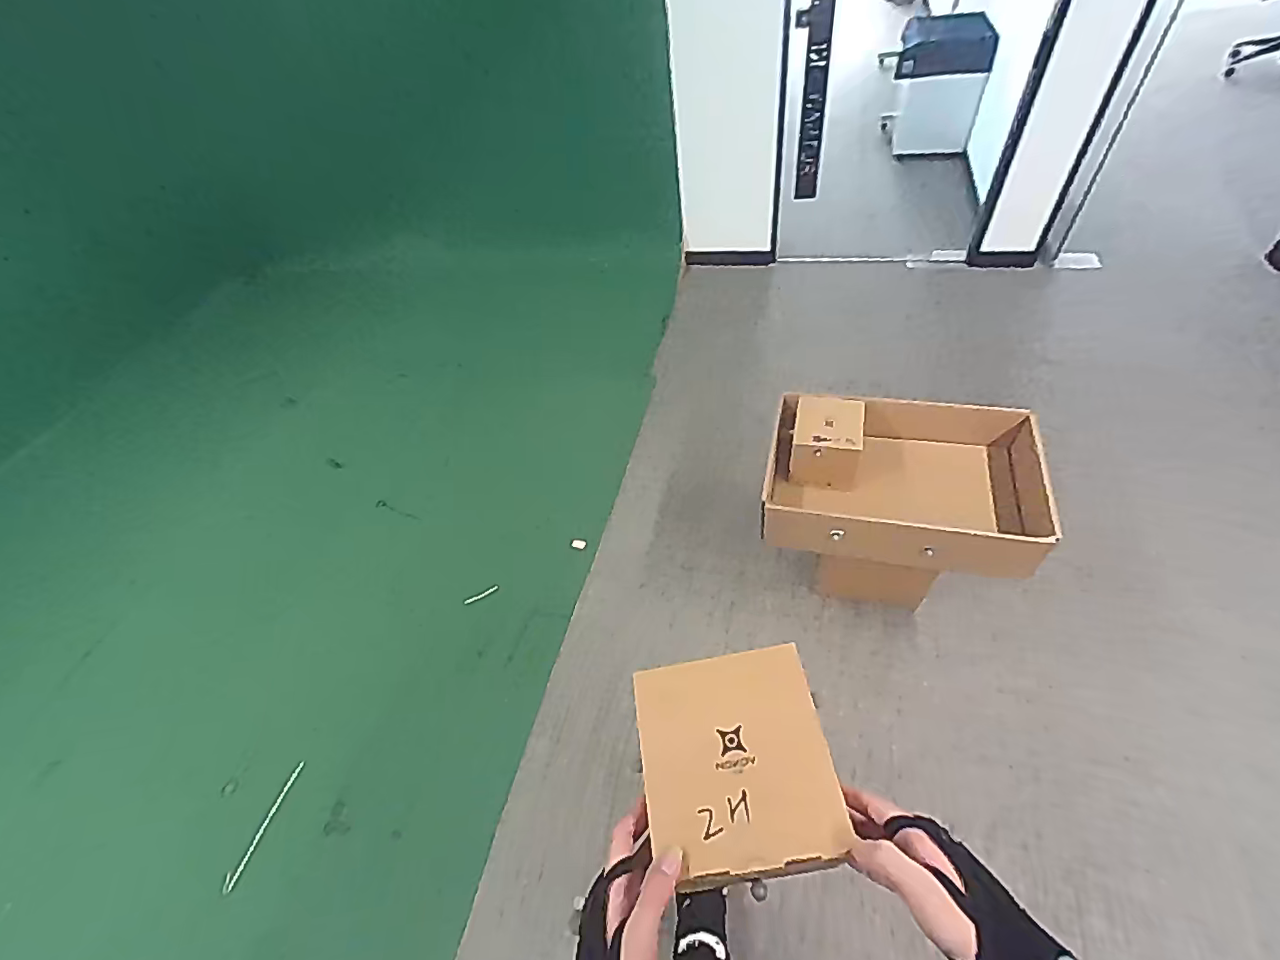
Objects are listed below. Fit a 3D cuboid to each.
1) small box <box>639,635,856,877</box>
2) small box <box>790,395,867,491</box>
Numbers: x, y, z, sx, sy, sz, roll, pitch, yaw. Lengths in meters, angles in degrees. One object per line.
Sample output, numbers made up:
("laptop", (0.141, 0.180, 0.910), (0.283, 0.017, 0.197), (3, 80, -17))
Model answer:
("small box", (0.097, 0.281, 0.547), (0.168, 0.176, 0.179), (-10, 51, 4))
("small box", (0.495, -0.098, 1.430), (0.168, 0.176, 0.179), (9, 53, 16))
